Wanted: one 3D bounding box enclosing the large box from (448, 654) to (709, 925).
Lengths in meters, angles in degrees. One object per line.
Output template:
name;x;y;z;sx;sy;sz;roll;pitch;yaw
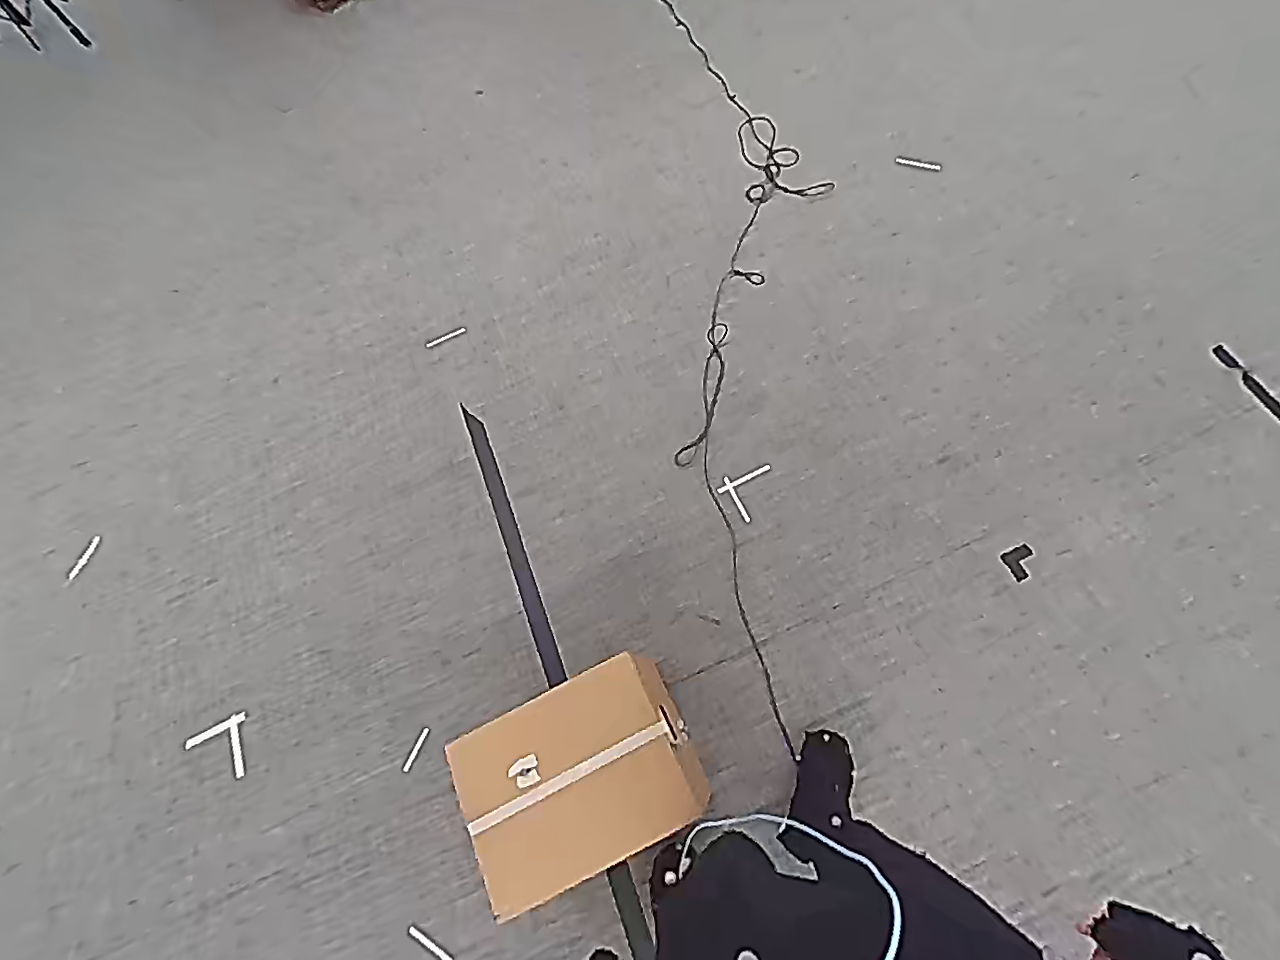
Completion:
large box;-0.108;0.603;1.130;0.408;0.320;0.320;-28;66;0
